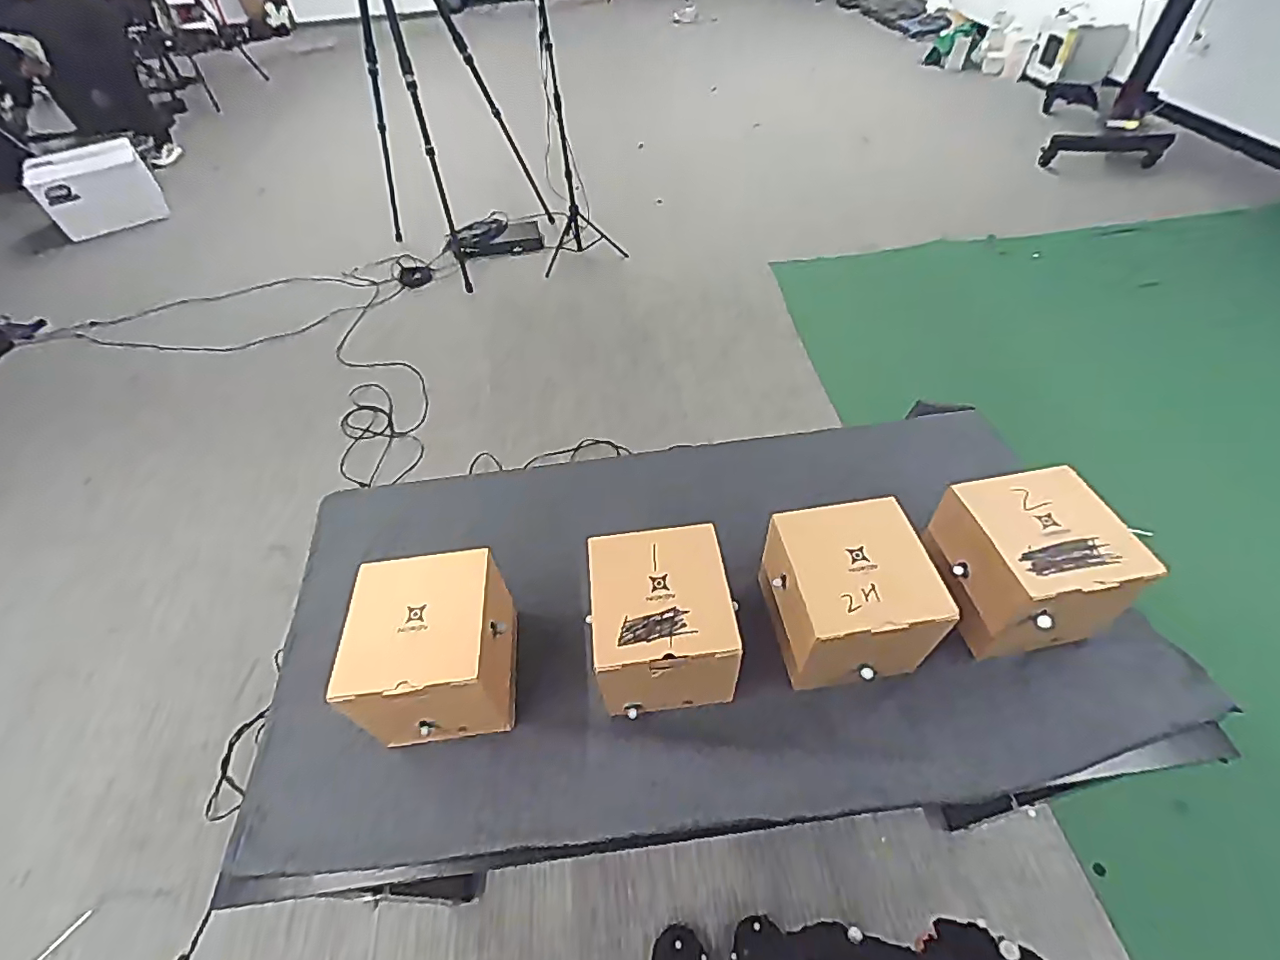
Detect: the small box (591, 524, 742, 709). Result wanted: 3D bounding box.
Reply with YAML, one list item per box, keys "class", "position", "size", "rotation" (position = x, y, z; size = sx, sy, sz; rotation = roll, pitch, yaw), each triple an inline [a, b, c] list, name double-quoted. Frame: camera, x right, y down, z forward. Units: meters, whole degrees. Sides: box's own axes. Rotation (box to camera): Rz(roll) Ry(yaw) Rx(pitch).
- class: "small box"
  position: [0.030, 0.183, 0.702]
  size: [0.168, 0.176, 0.179]
  rotation: [-6, 49, -1]

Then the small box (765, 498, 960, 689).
- class: "small box"
  position: [0.270, 0.151, 0.711]
  size: [0.168, 0.176, 0.179]
  rotation: [-9, 50, -1]

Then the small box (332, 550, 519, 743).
- class: "small box"
  position: [-0.257, 0.215, 0.697]
  size: [0.168, 0.176, 0.179]
  rotation: [-7, 49, -3]
